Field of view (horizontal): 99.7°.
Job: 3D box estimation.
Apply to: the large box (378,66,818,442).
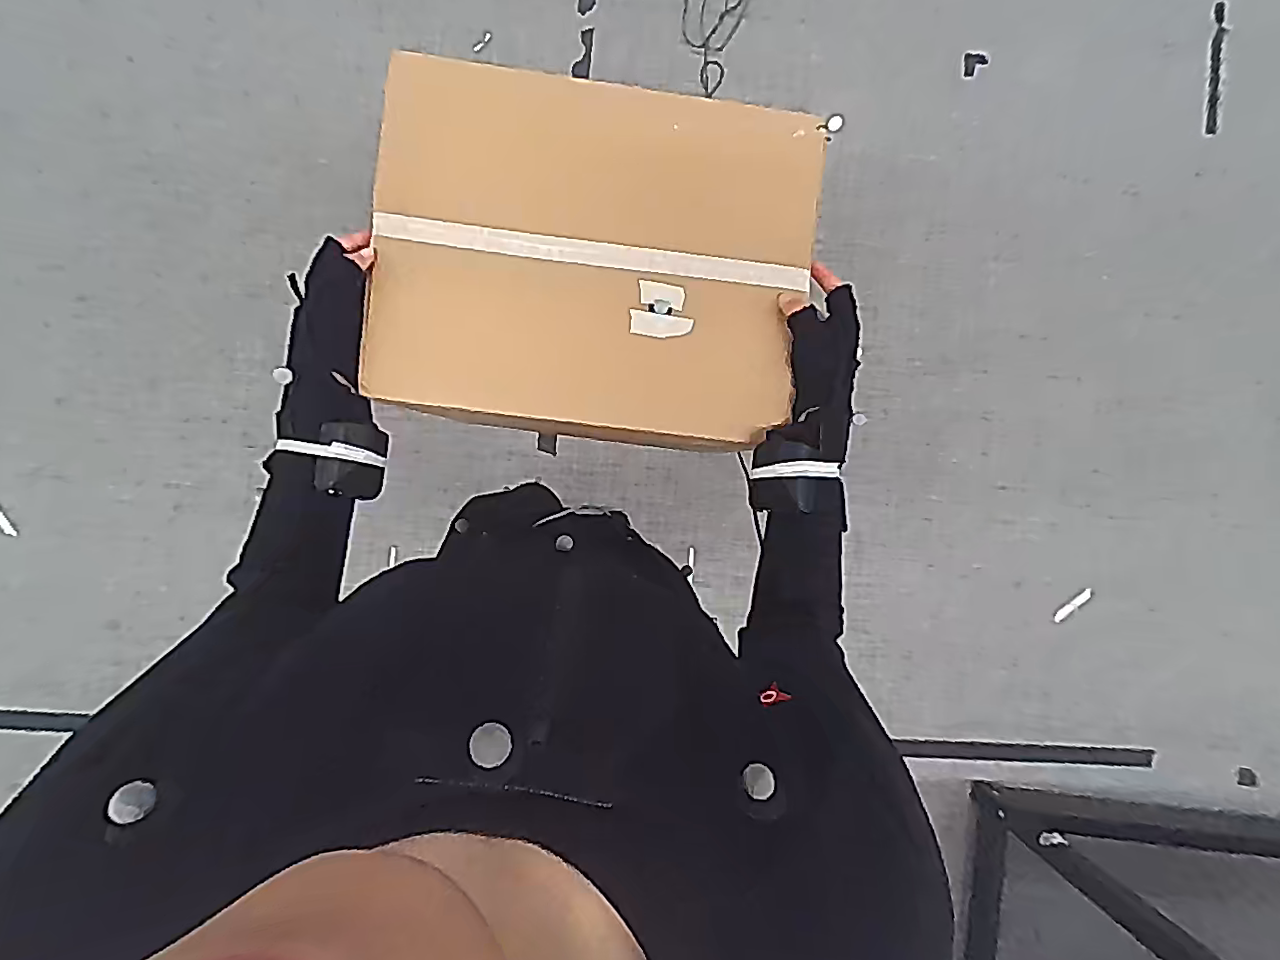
[{"bbox_3d":[-0.048,-0.223,0.667,0.408,0.320,0.320,7,93,-3],"label":"large box"}]
